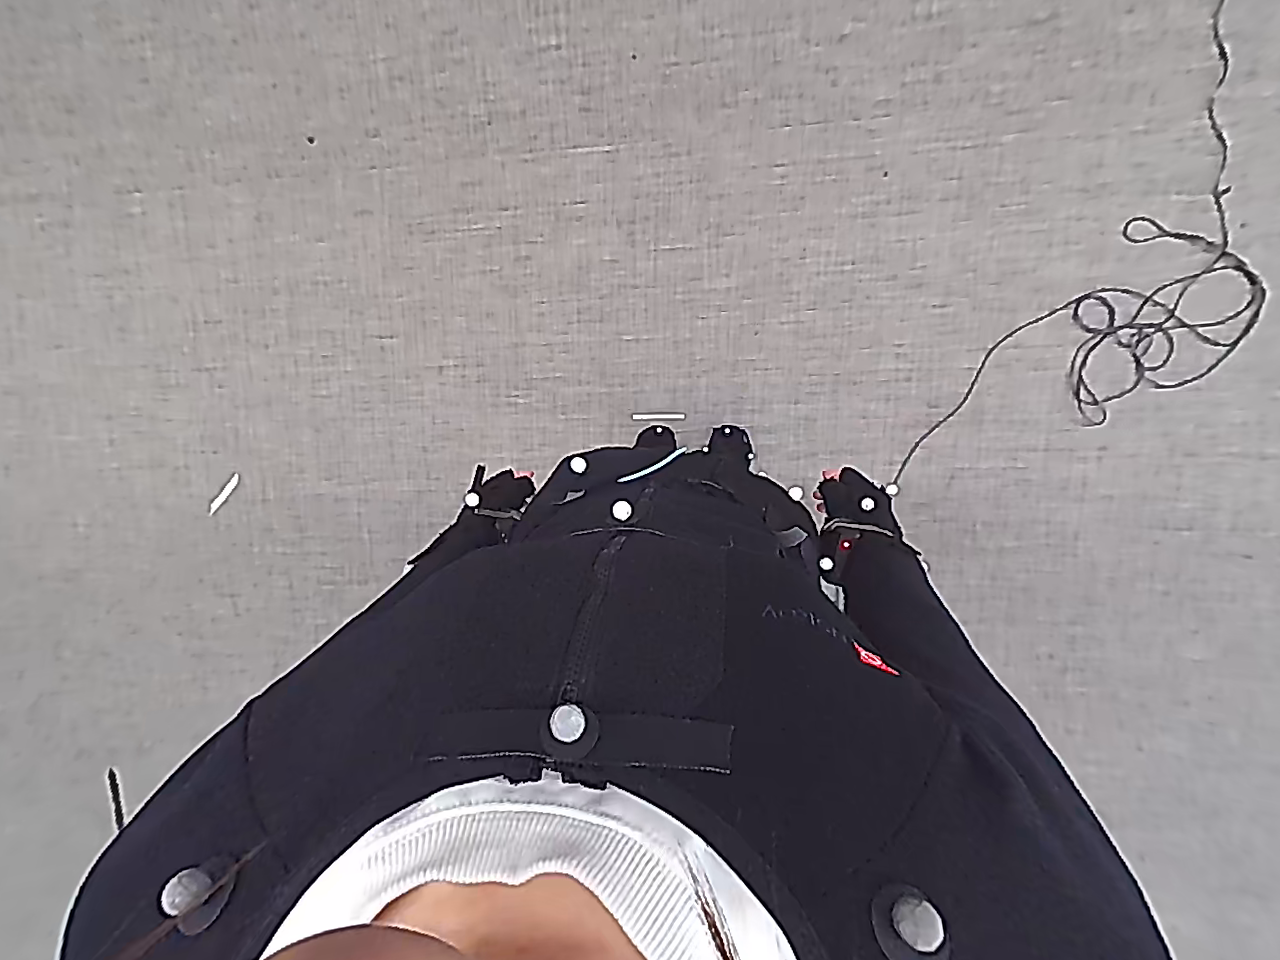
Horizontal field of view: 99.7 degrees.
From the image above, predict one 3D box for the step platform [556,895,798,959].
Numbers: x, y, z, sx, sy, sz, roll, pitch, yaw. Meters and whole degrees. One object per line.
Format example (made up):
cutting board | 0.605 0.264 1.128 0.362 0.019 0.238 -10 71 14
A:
step platform | 0.102 1.399 1.521 0.684 0.204 0.286 -2 97 9
